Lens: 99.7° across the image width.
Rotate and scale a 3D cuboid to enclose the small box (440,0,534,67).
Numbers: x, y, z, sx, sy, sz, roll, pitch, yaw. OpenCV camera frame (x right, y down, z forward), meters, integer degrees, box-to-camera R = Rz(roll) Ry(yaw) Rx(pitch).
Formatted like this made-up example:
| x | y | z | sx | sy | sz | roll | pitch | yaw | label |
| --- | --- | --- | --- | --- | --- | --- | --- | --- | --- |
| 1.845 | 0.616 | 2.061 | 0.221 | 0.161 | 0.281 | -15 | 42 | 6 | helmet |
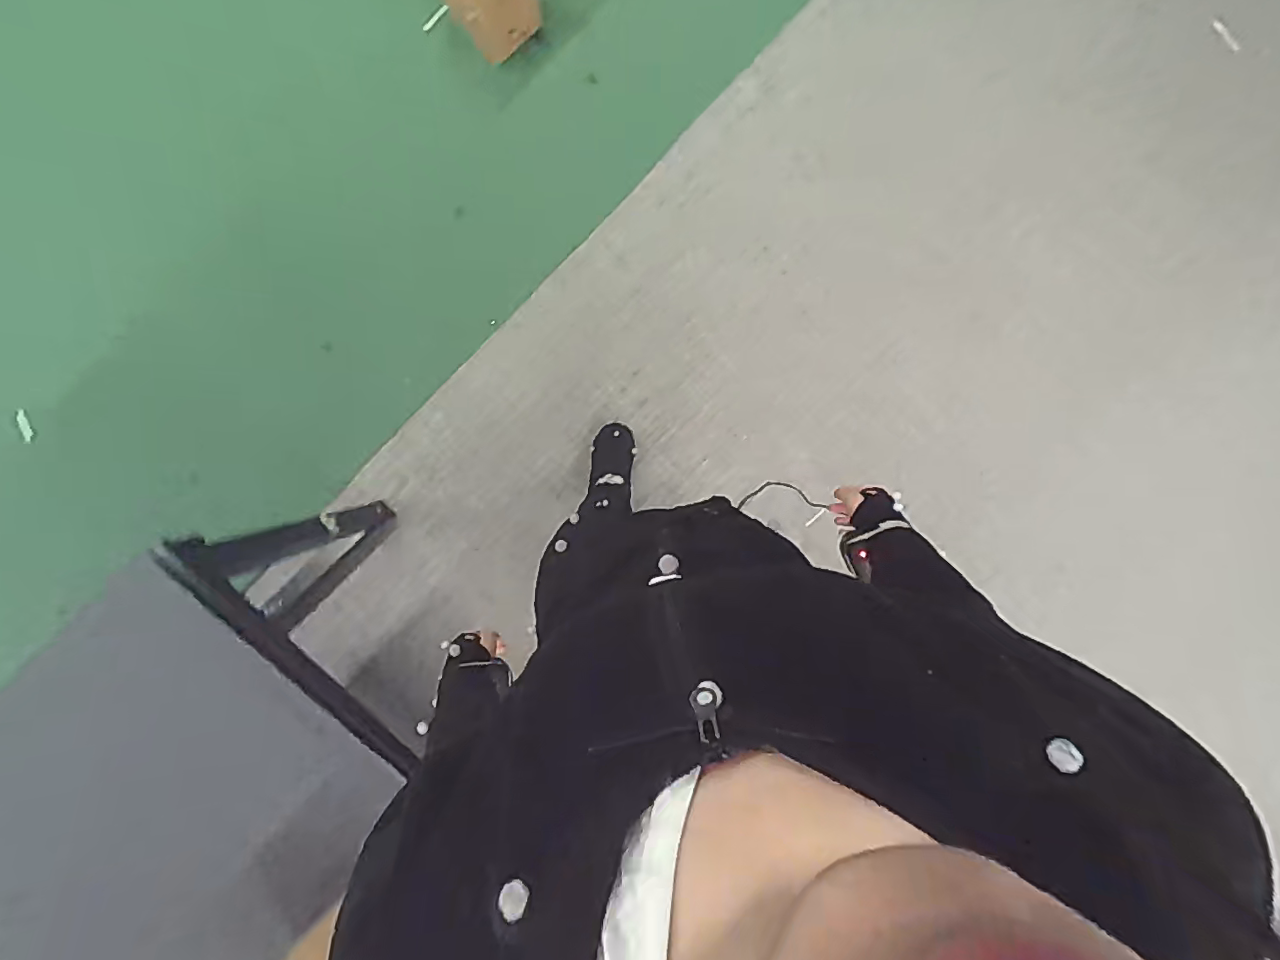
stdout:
| x | y | z | sx | sy | sz | roll | pitch | yaw | label |
| --- | --- | --- | --- | --- | --- | --- | --- | --- | --- |
| -0.383 | -1.181 | 1.326 | 0.168 | 0.176 | 0.179 | -44 | 95 | 0 | small box |
